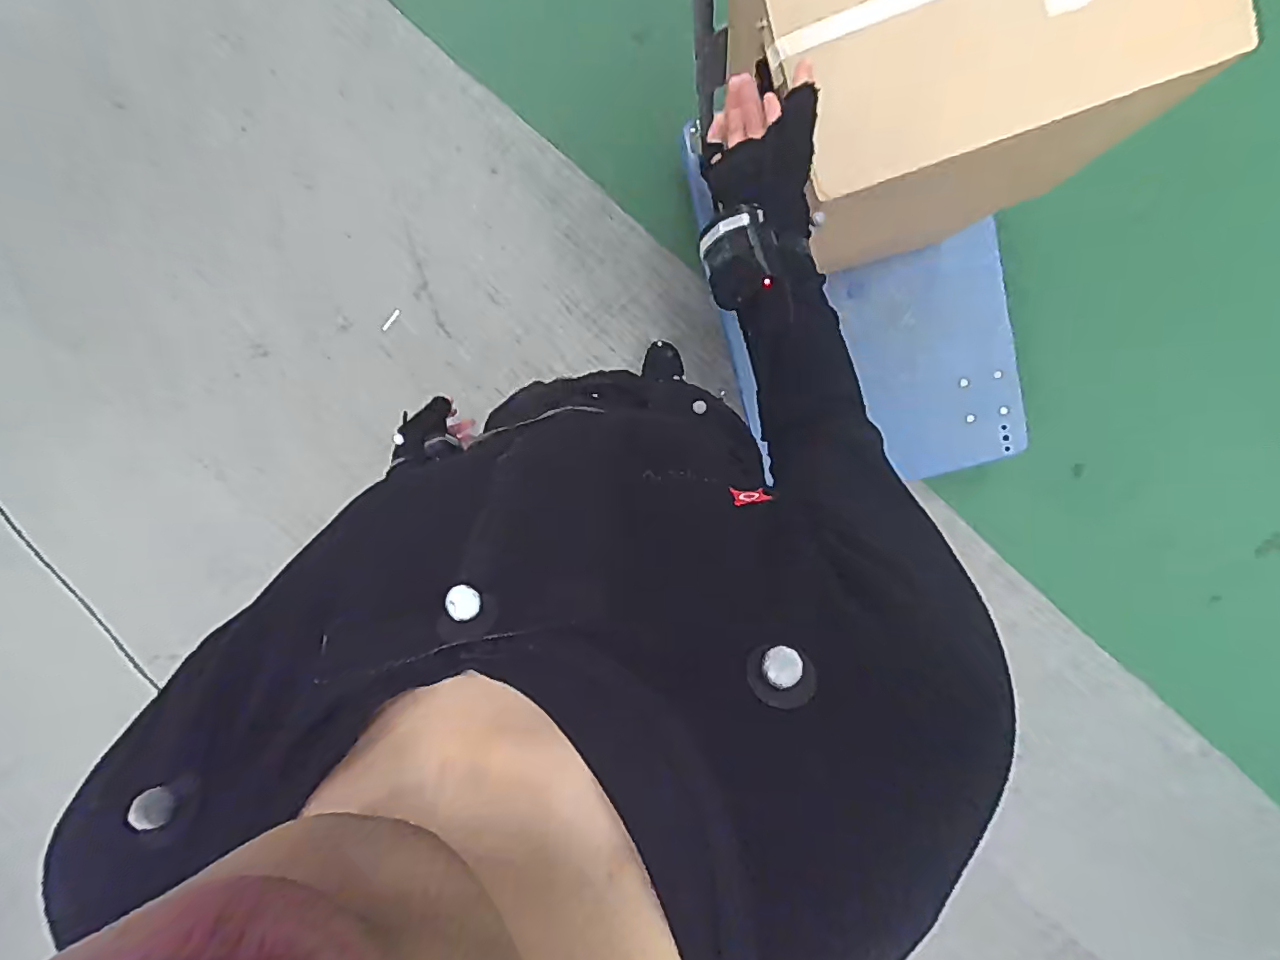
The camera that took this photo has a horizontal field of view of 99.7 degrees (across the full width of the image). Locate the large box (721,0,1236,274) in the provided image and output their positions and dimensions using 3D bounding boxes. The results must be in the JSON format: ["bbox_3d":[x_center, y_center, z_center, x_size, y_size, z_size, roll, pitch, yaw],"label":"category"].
[{"bbox_3d":[0.338,-0.504,0.665,0.408,0.320,0.320,-16,94,8],"label":"large box"}]
